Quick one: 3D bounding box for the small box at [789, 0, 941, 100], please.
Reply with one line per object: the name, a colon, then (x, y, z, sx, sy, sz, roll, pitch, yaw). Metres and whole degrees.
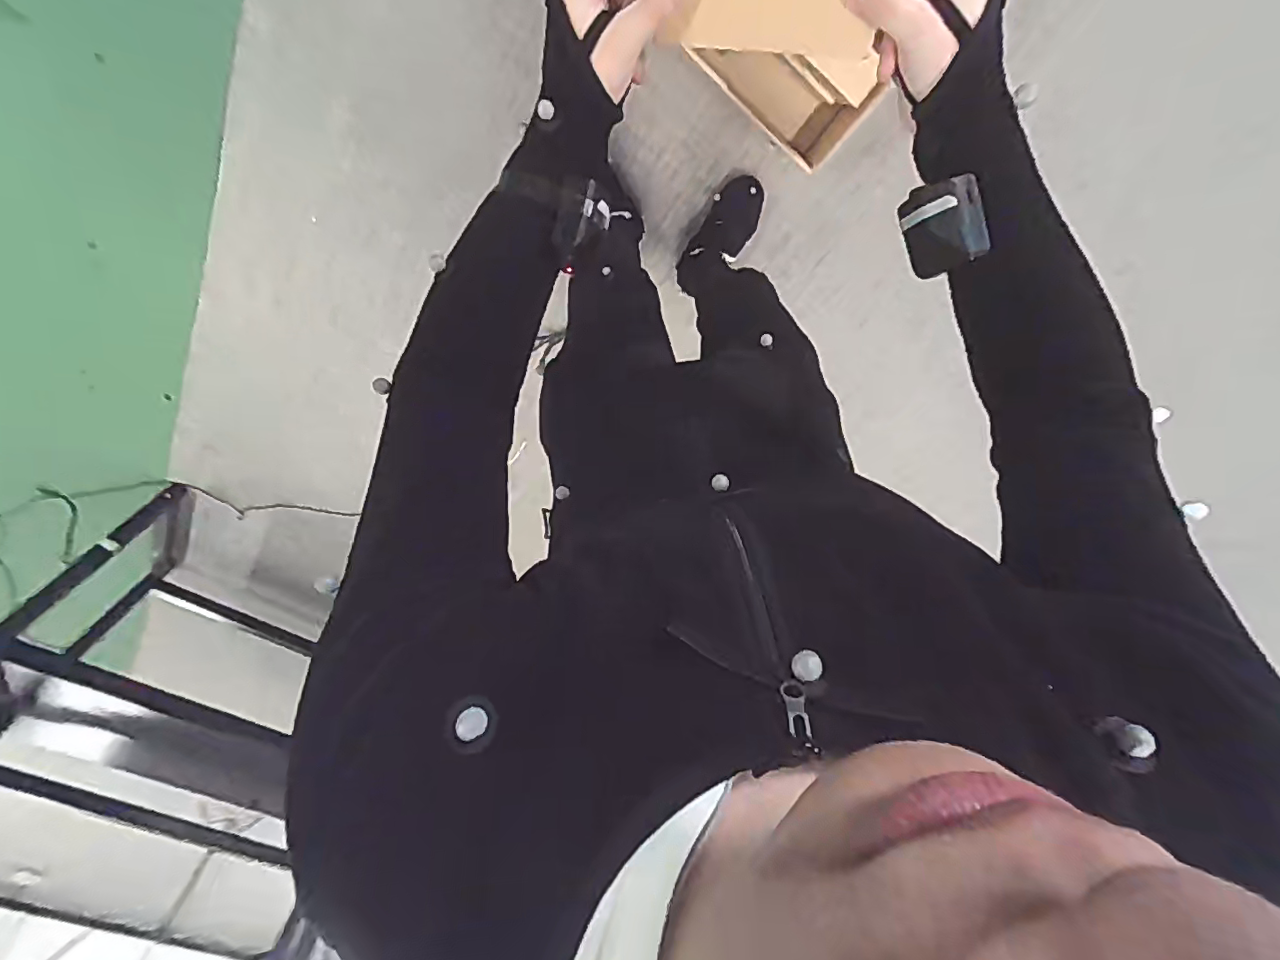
small box: (0.326, -0.732, 0.838, 0.179, 0.176, 0.168, 32, 126, -18)

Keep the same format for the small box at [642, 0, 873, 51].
small box: (0.093, -0.443, 0.392, 0.168, 0.176, 0.179, 4, 138, 1)
